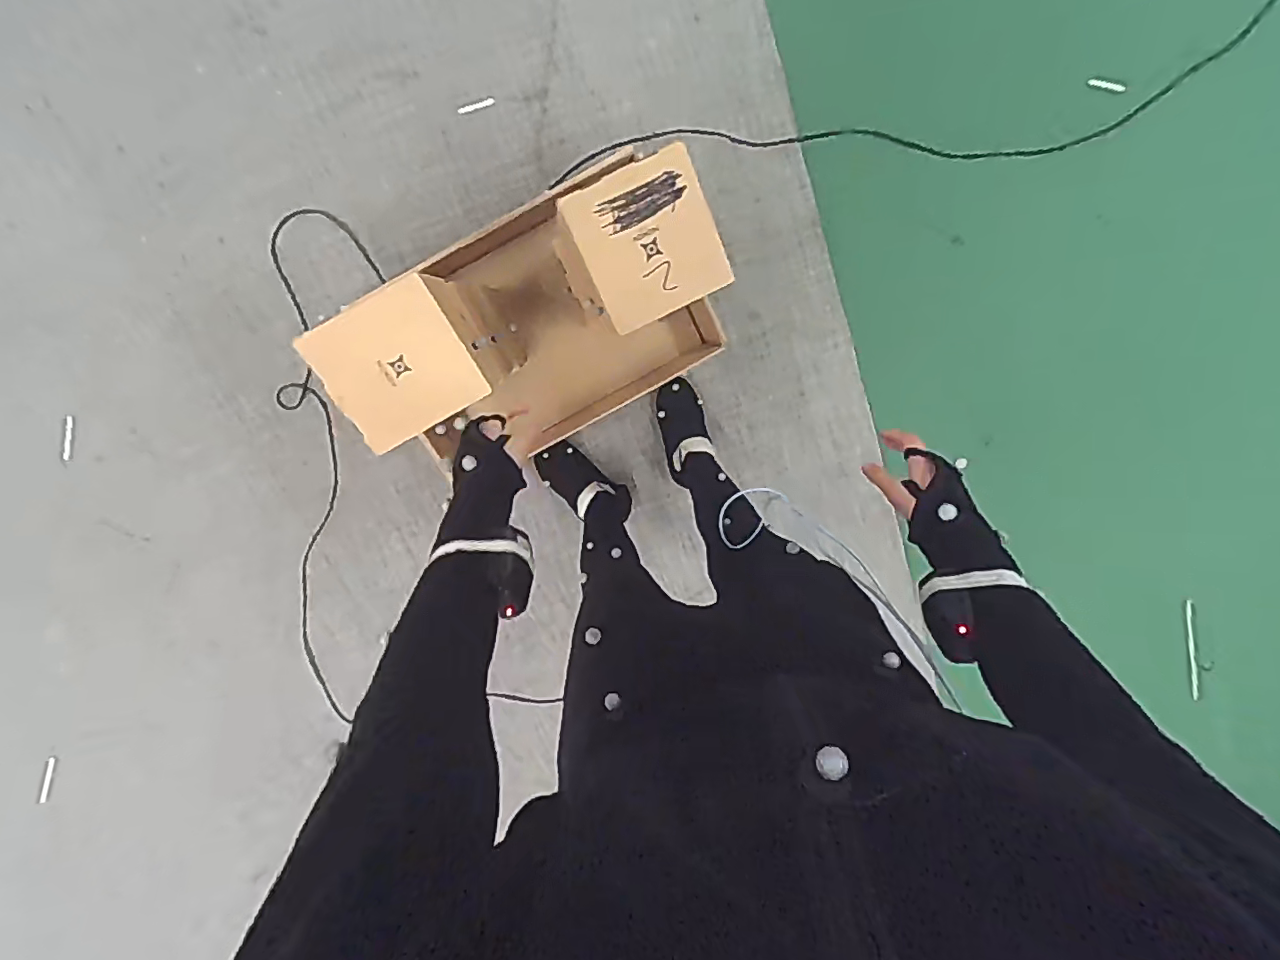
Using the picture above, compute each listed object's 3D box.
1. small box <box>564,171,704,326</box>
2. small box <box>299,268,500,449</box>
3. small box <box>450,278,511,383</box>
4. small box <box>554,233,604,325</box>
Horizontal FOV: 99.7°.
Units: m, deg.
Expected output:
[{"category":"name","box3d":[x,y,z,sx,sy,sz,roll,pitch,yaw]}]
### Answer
[{"category":"small box","box3d":[-0.015,-0.369,0.890,0.168,0.176,0.179,-24,107,-1]},{"category":"small box","box3d":[-0.306,-0.170,0.739,0.179,0.176,0.168,-28,109,2]},{"category":"small box","box3d":[-0.329,-0.216,0.892,0.179,0.176,0.168,-24,109,-2]},{"category":"small box","box3d":[-0.050,-0.409,1.046,0.179,0.176,0.168,-24,108,0]}]
